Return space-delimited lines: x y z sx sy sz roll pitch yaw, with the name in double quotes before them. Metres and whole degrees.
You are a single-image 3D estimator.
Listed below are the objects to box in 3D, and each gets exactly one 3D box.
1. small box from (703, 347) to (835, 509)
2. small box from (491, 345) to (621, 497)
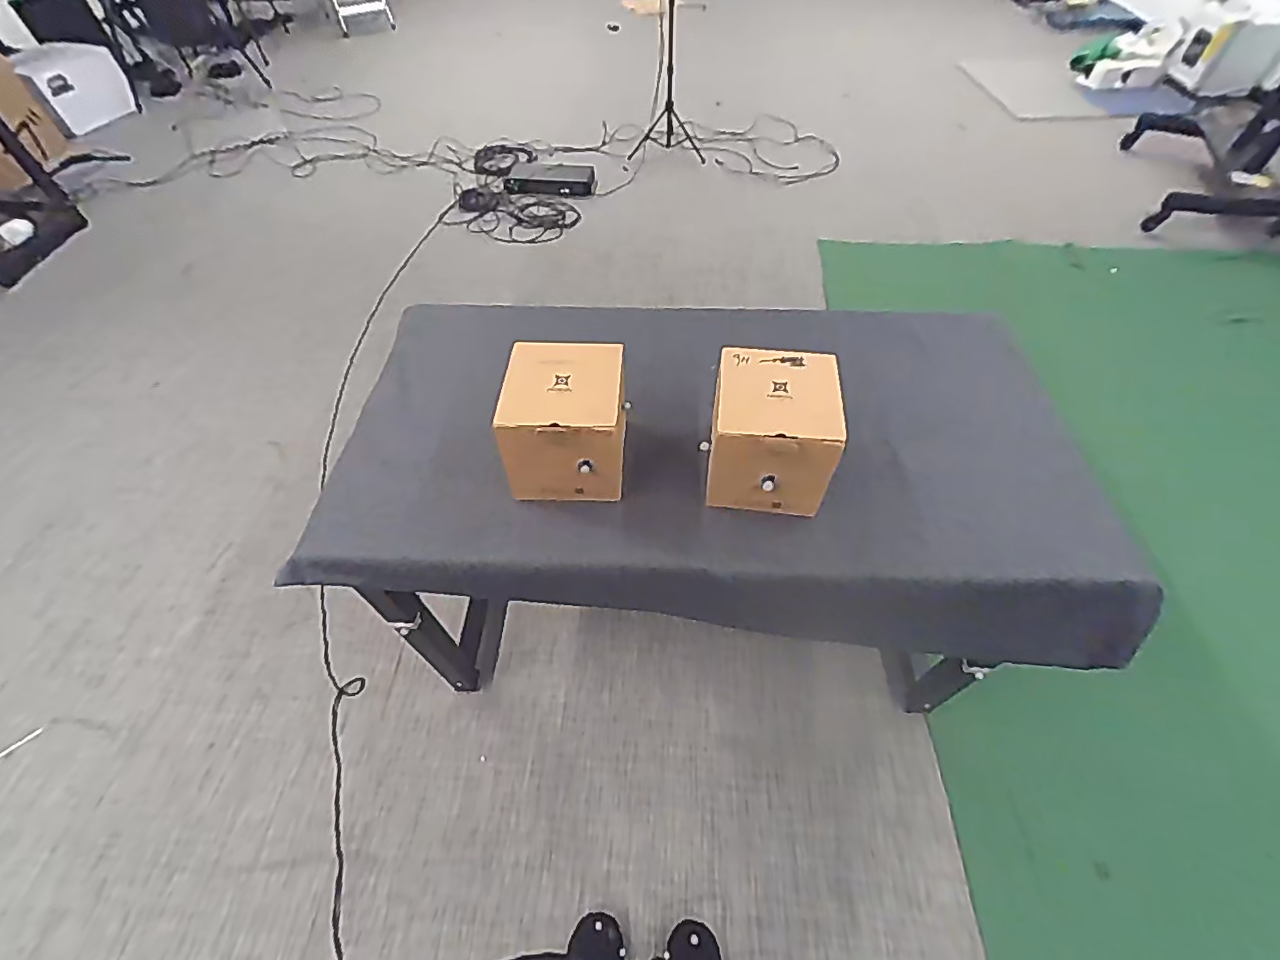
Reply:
"small box" 0.185 -0.074 0.812 0.168 0.176 0.179 5 54 5
"small box" -0.116 -0.087 0.832 0.168 0.176 0.179 1 51 0
